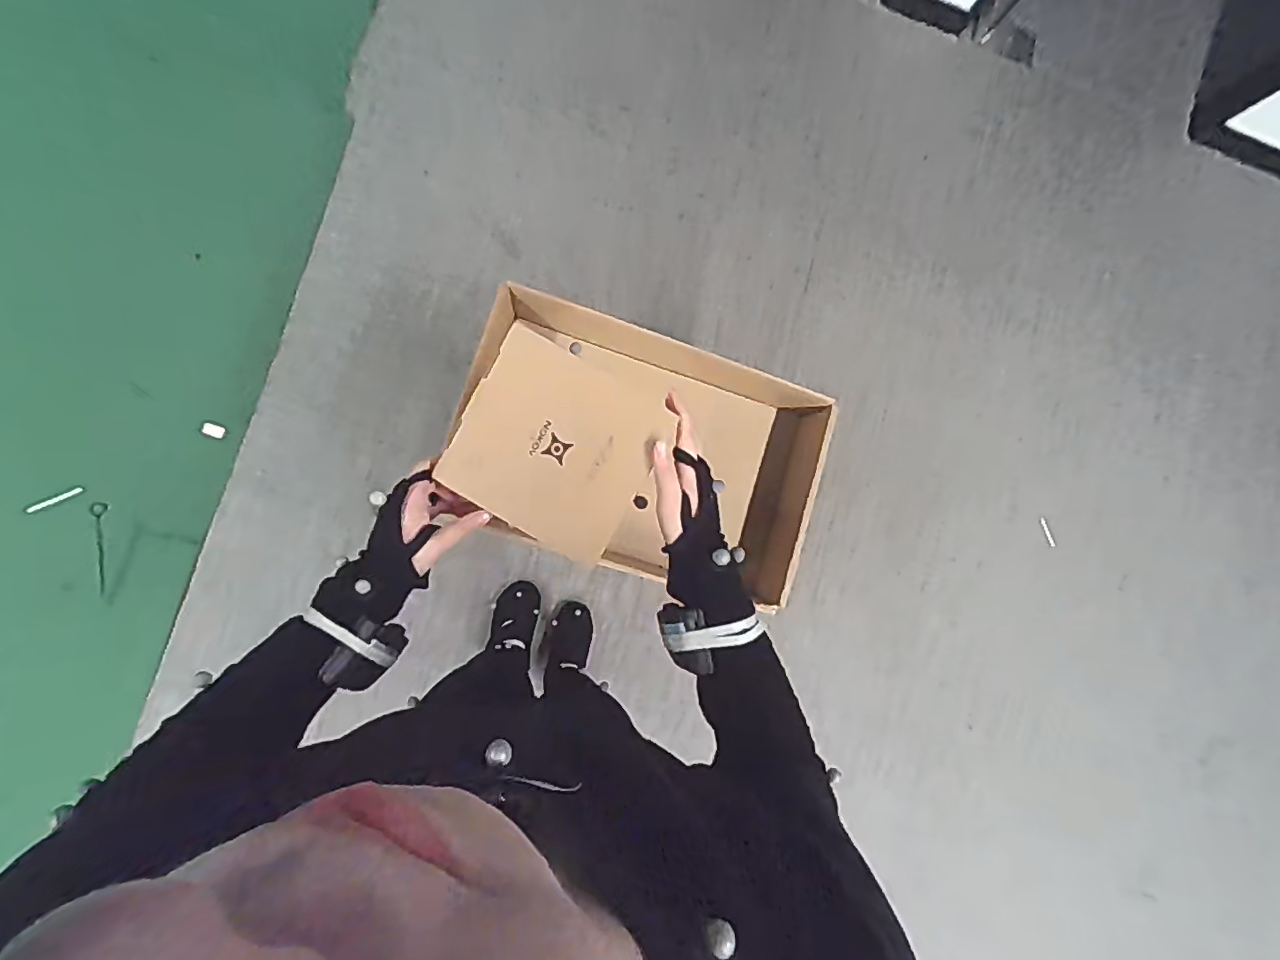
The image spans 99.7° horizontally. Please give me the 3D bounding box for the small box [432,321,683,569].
[{"bbox_3d":[-0.073,-0.034,0.564,0.179,0.176,0.168,31,94,0],"label":"small box"}]
